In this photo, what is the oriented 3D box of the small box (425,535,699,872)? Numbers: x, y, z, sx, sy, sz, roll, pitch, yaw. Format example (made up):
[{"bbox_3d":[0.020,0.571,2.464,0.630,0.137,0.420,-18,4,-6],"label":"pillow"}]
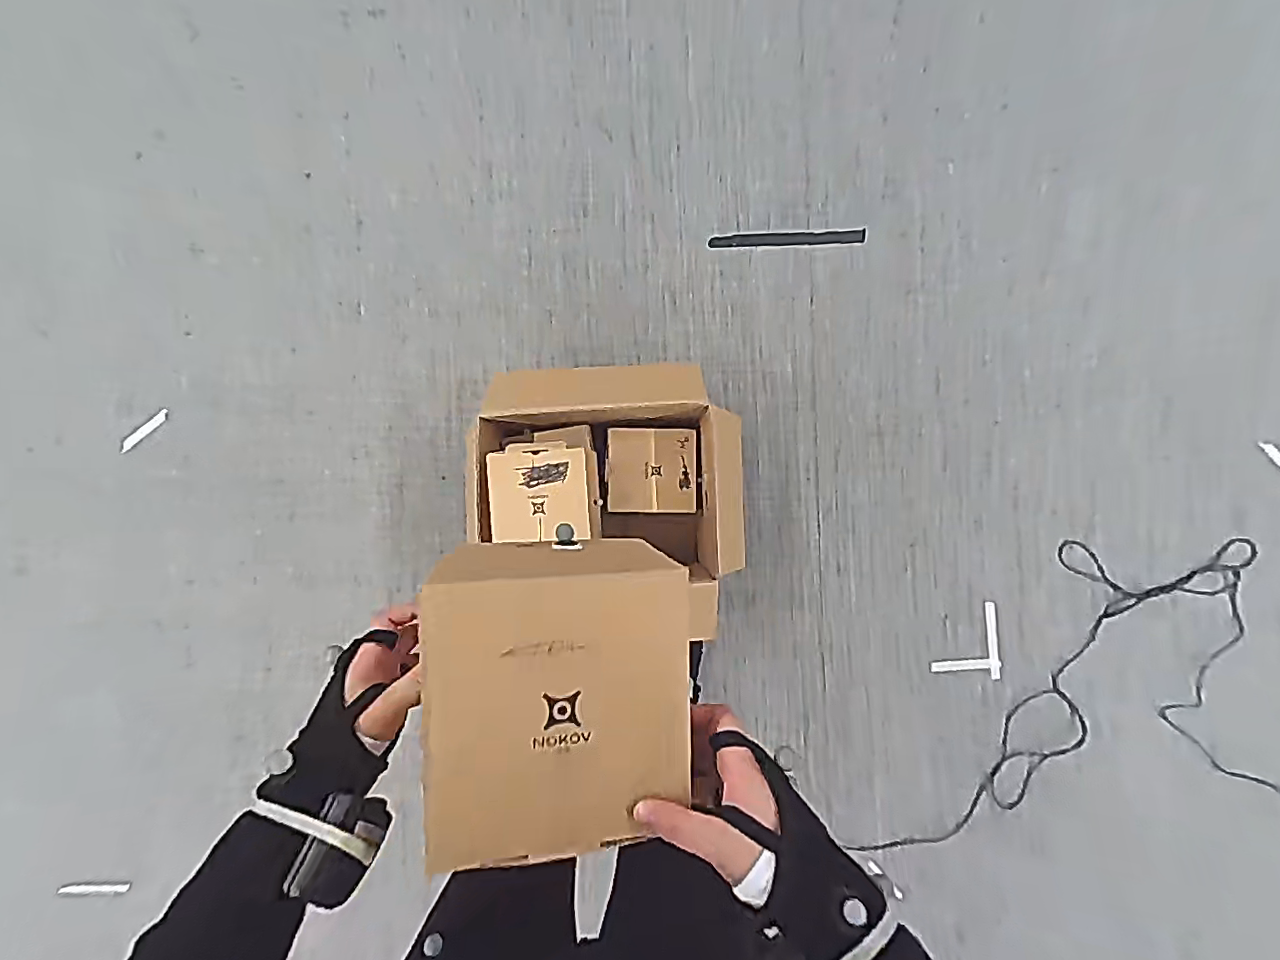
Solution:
[{"bbox_3d":[-0.060,0.139,0.405,0.168,0.176,0.179,-1,91,-13],"label":"small box"}]

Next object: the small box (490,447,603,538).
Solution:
[{"bbox_3d":[-0.159,0.038,0.963,0.168,0.176,0.179,-4,90,2],"label":"small box"}]
